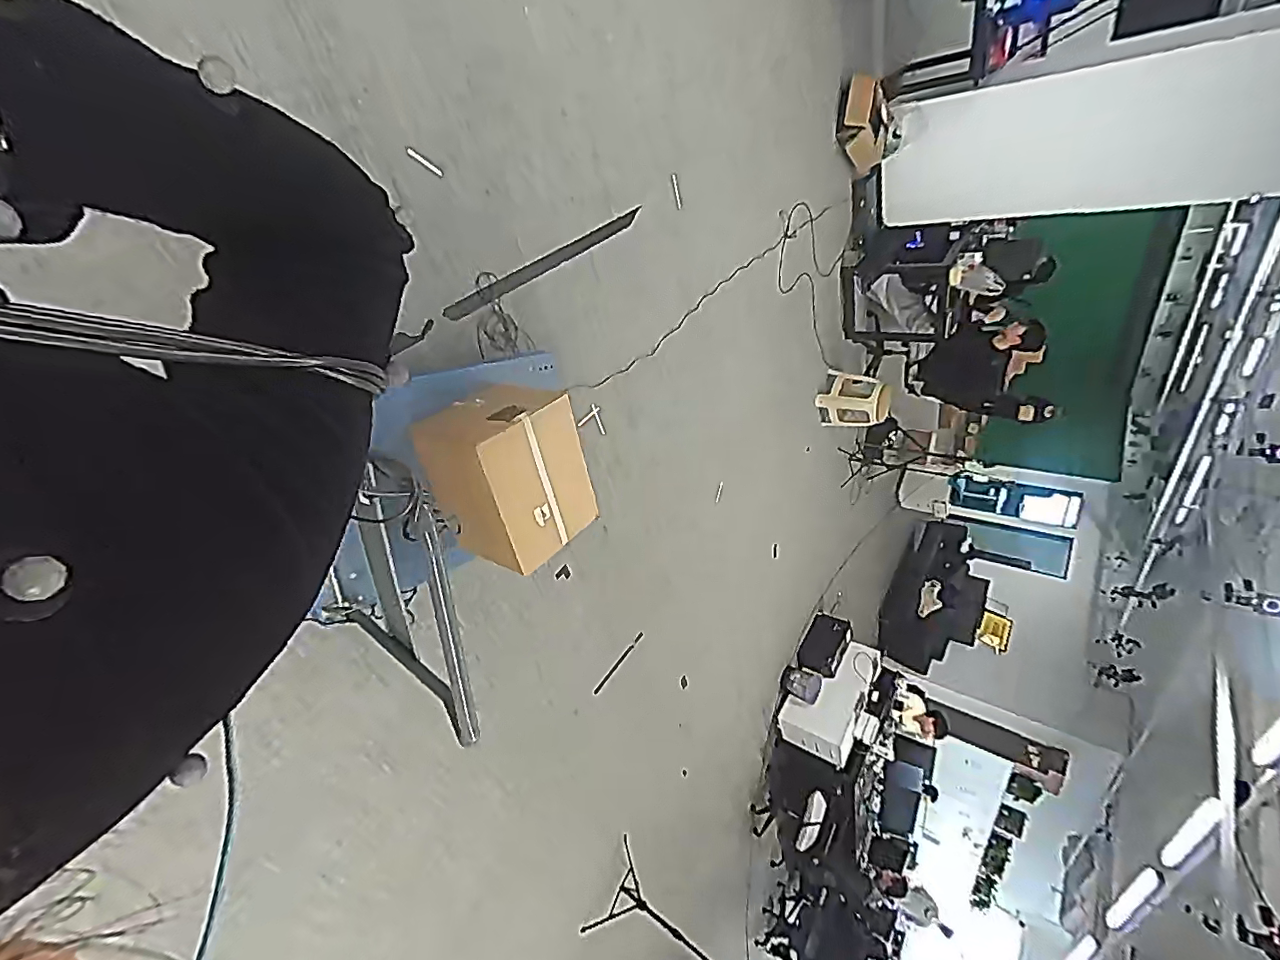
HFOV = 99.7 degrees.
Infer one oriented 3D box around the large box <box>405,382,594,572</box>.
[{"bbox_3d":[-0.378,-0.023,1.515,0.320,0.320,0.408,-39,131,-38],"label":"large box"}]
